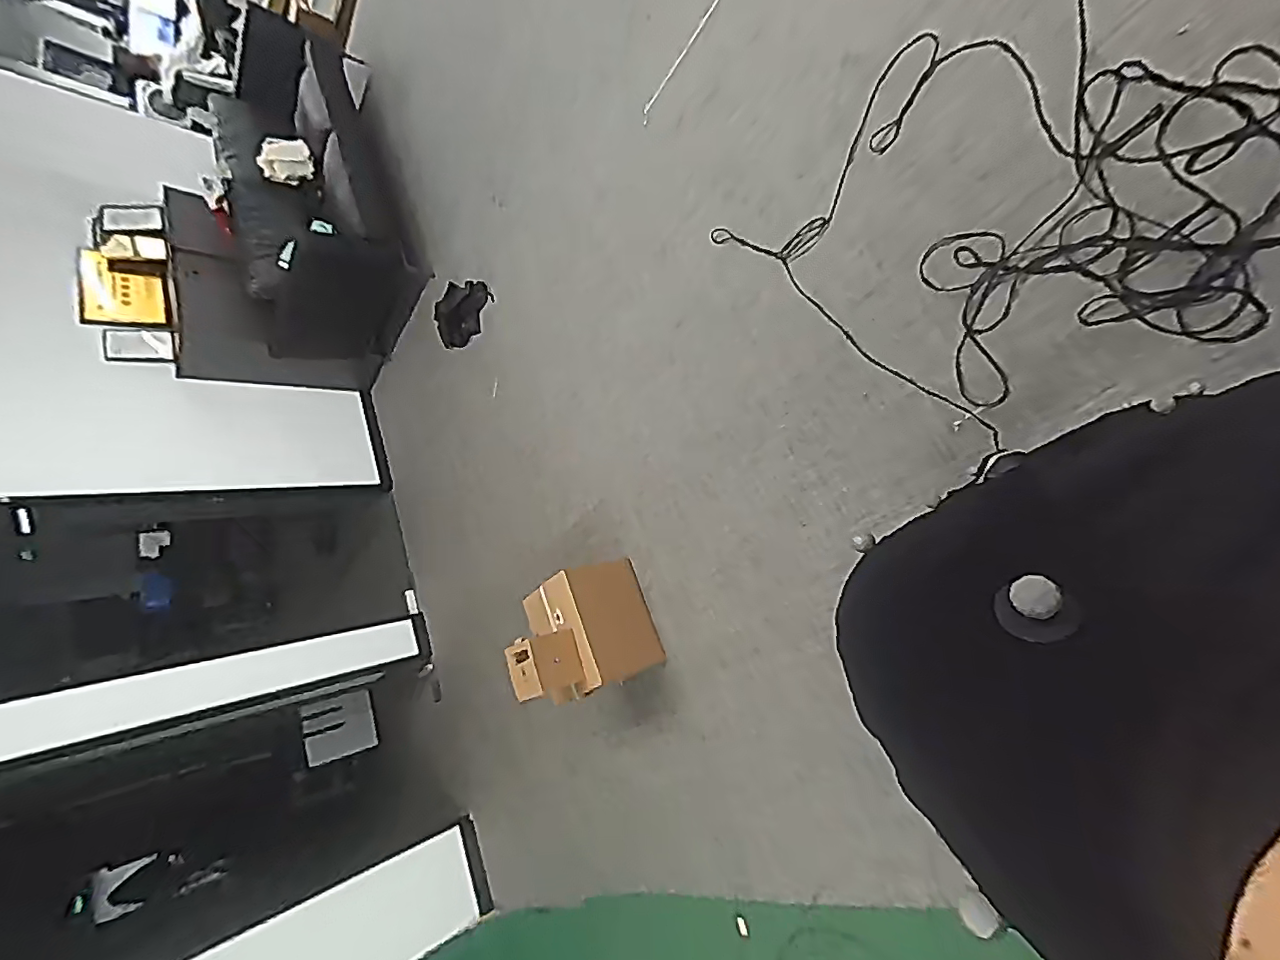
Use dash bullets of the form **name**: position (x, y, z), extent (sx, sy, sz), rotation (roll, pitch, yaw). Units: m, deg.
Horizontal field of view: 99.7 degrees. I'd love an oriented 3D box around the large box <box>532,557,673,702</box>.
- **large box**: position (-0.143, 0.540, 1.990), extent (0.320, 0.320, 0.408), rotation (-40, 63, 39)
